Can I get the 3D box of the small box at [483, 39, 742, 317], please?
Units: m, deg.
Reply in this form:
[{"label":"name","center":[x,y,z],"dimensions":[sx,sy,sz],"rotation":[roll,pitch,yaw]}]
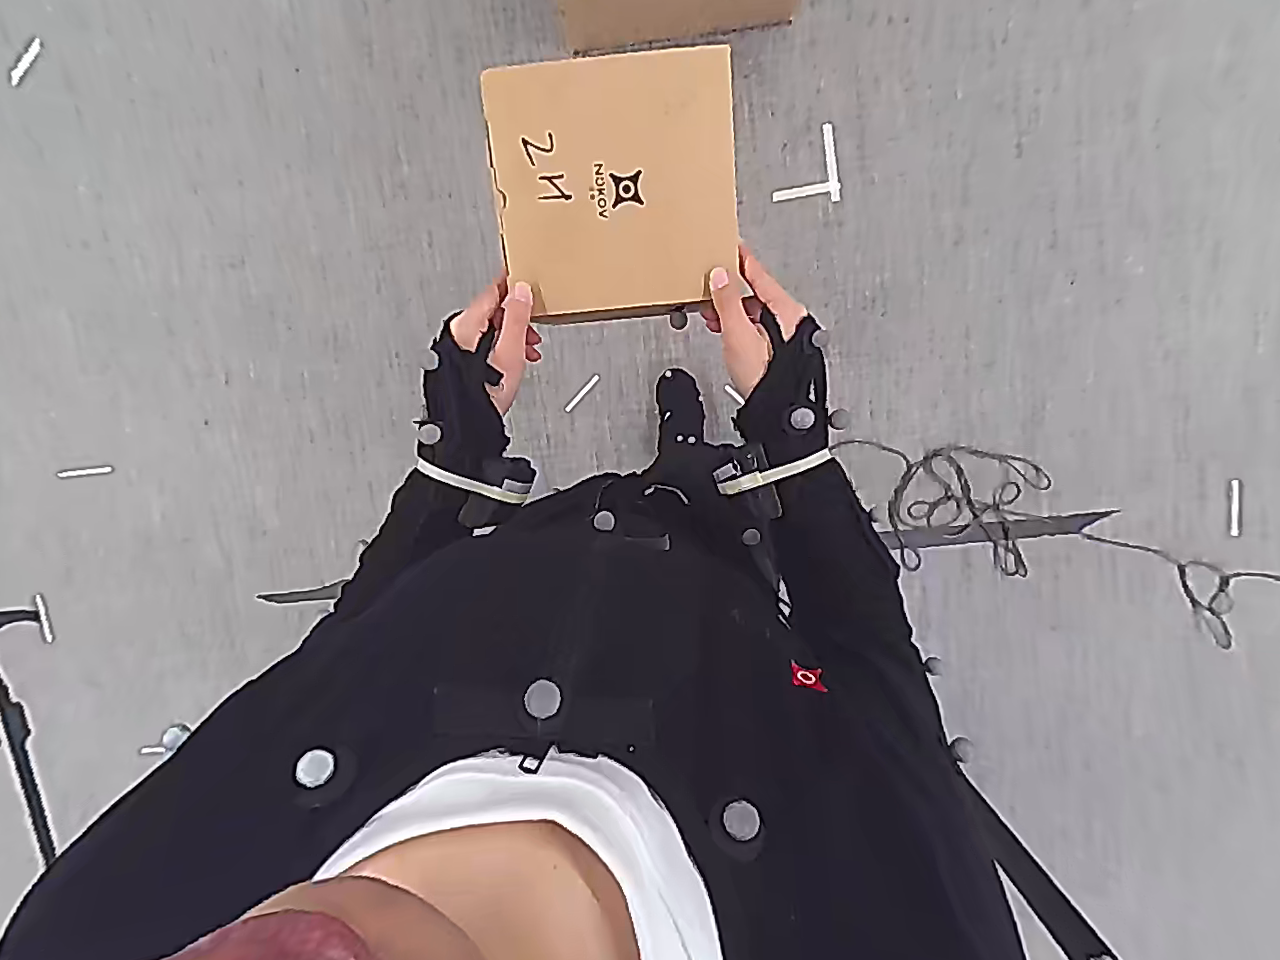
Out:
[{"label":"small box","center":[-0.016,-0.233,0.462],"dimensions":[0.179,0.176,0.168],"rotation":[-4,104,2]}]
